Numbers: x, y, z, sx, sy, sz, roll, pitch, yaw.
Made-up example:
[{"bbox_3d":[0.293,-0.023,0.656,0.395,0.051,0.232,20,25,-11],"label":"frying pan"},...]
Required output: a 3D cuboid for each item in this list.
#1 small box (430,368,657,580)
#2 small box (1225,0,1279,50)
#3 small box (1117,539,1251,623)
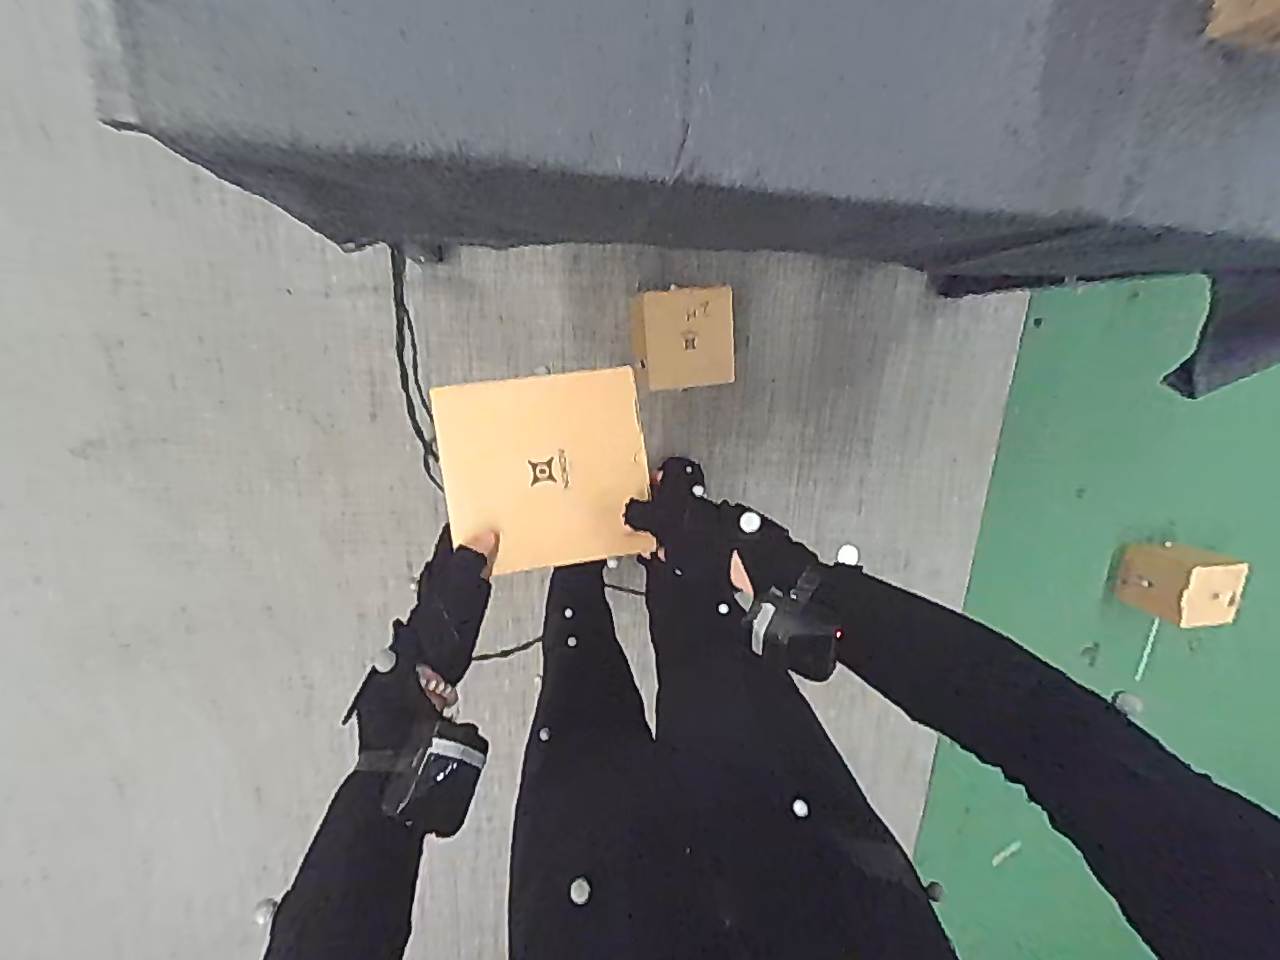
[{"bbox_3d":[-0.092,-0.007,0.541,0.179,0.176,0.168,-9,92,-10],"label":"small box"},{"bbox_3d":[0.534,-0.404,0.331,0.168,0.176,0.179,-3,105,-8],"label":"small box"},{"bbox_3d":[1.430,0.263,1.434,0.179,0.176,0.168,-1,105,-9],"label":"small box"}]
